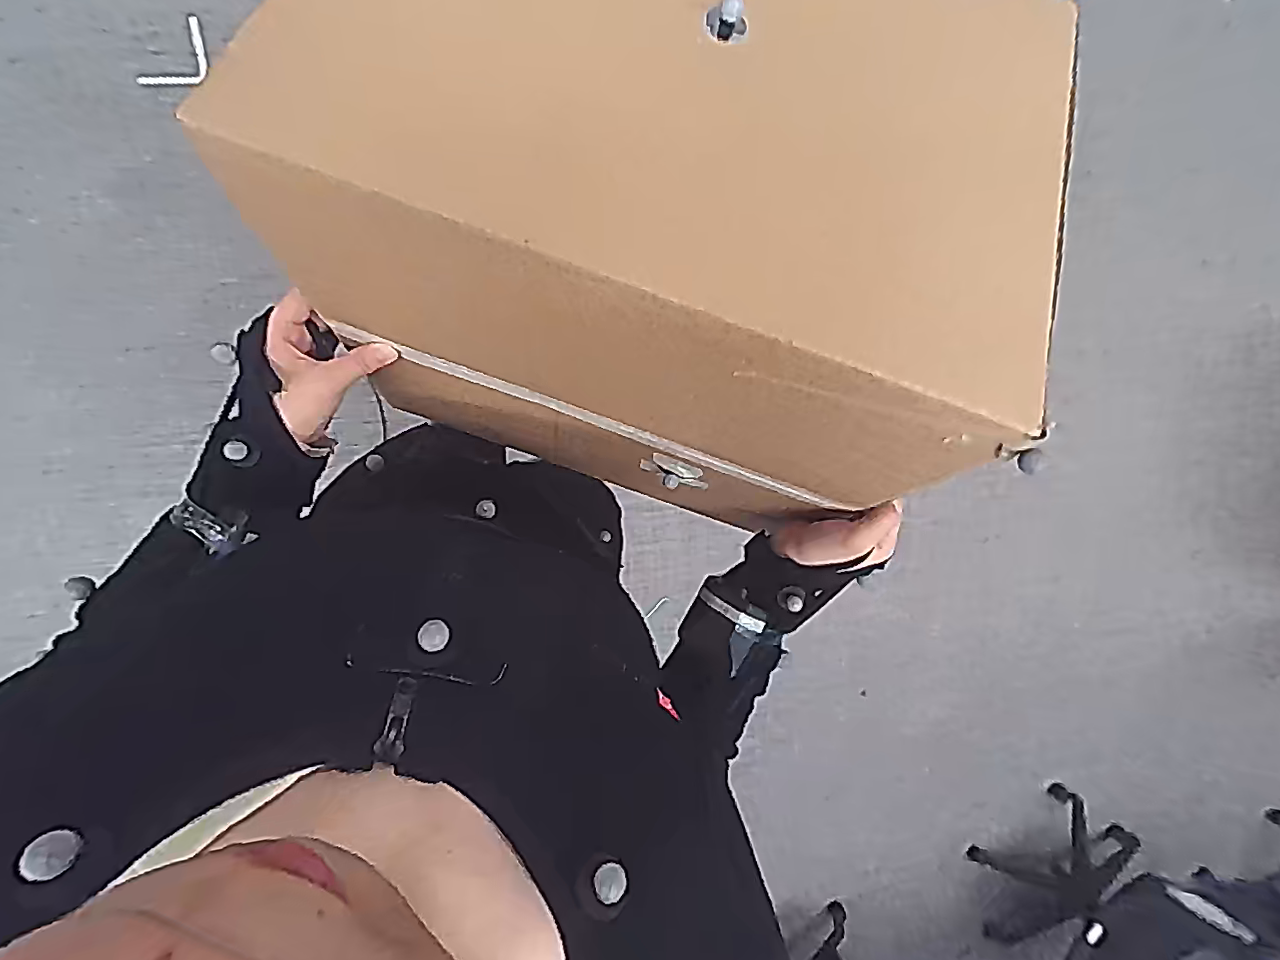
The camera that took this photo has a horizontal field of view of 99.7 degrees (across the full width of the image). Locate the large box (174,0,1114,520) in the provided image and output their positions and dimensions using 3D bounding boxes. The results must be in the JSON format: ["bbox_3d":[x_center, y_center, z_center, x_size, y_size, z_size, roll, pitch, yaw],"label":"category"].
[{"bbox_3d":[0.026,-0.199,0.400,0.408,0.320,0.320,18,74,-3],"label":"large box"}]
